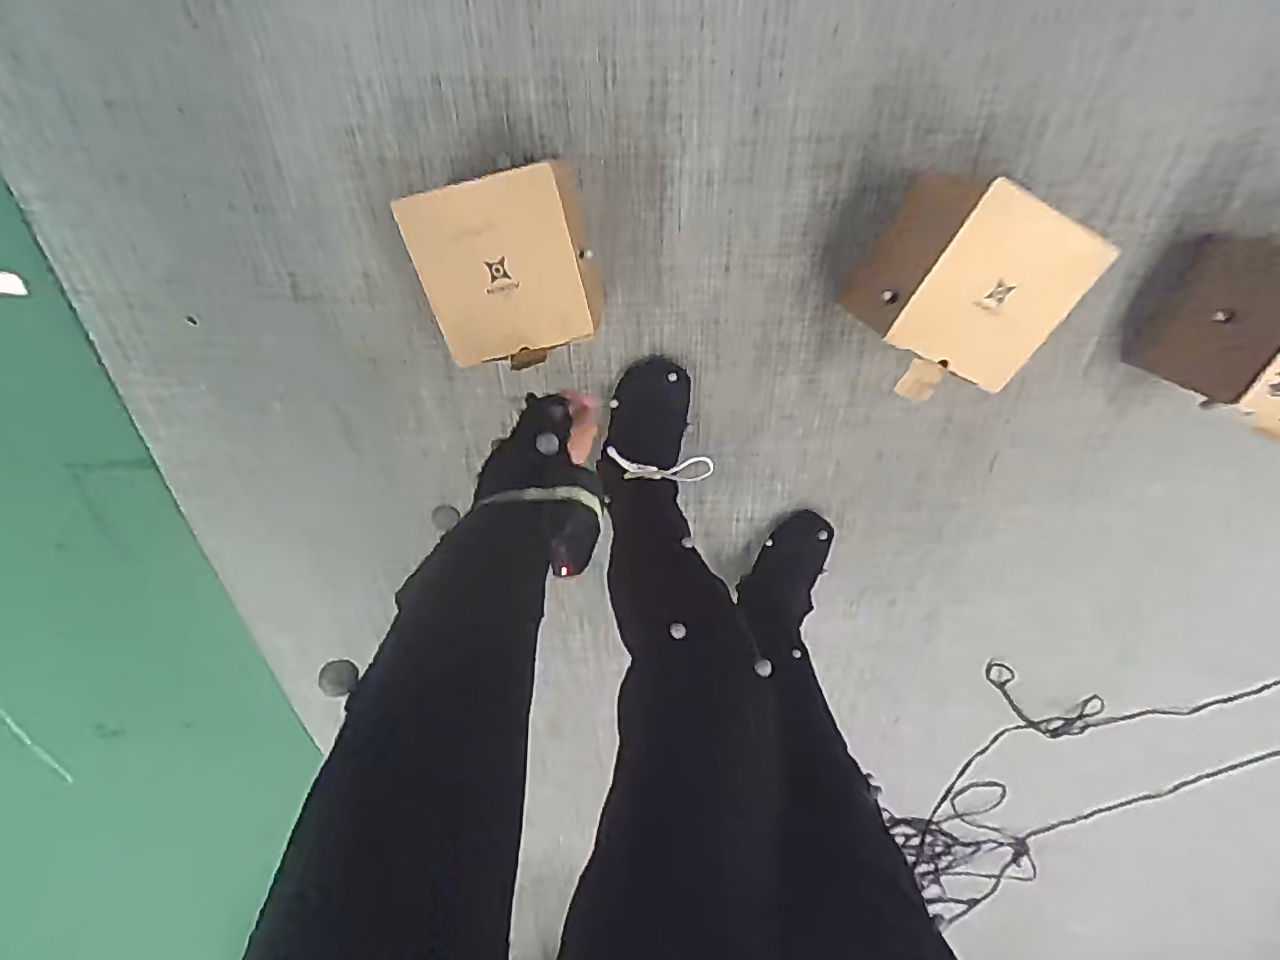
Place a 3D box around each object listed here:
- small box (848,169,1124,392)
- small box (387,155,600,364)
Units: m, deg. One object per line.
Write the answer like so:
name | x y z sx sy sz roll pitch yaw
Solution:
small box | 0.374 -0.237 0.627 0.168 0.176 0.179 21 120 -13
small box | -0.145 -0.255 0.616 0.168 0.176 0.179 -11 119 5
